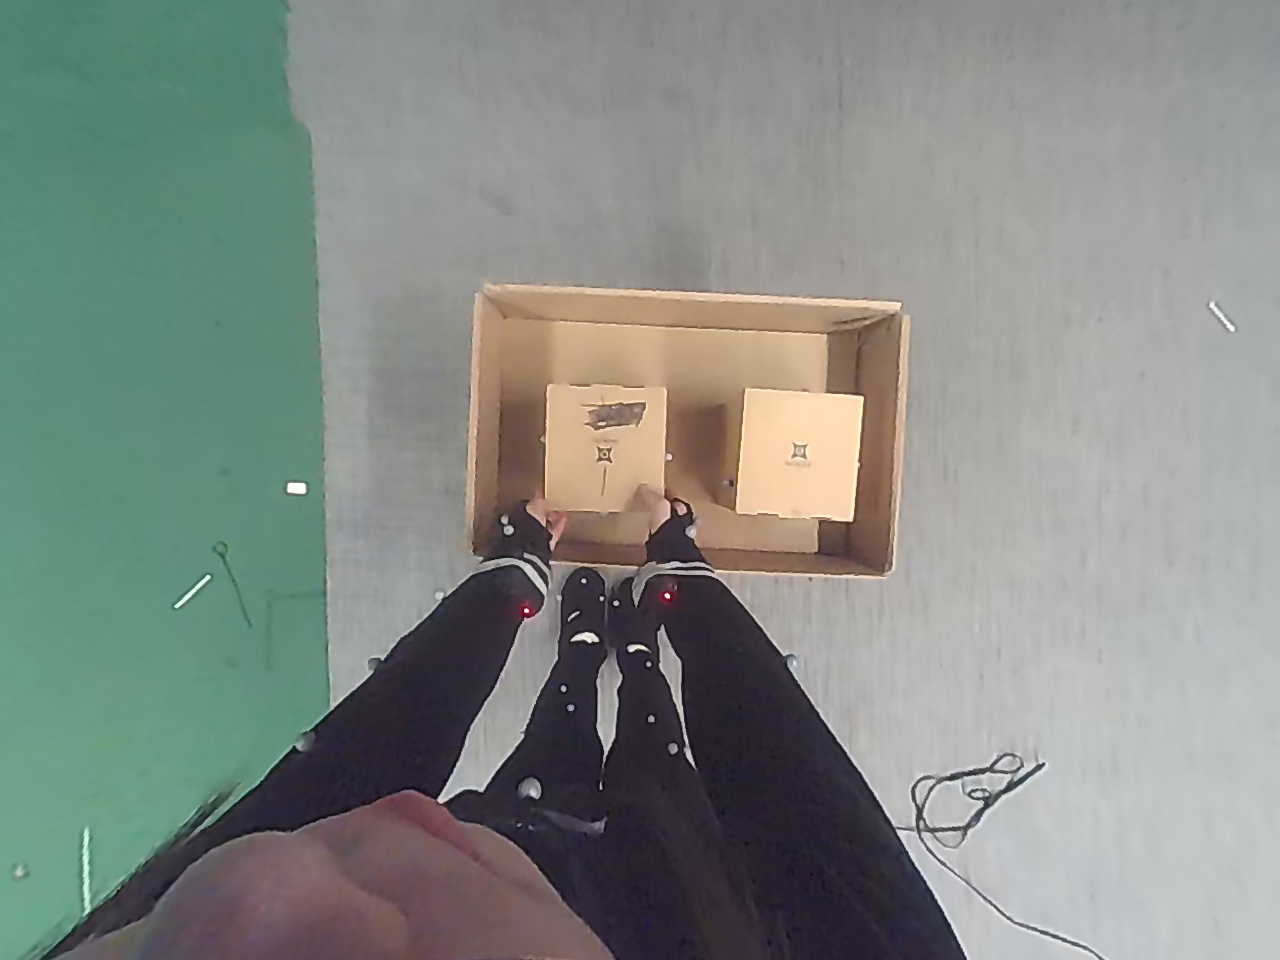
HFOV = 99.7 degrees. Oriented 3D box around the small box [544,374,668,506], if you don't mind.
[{"bbox_3d":[-0.048,-0.057,0.817,0.168,0.176,0.179,2,93,0],"label":"small box"}]
